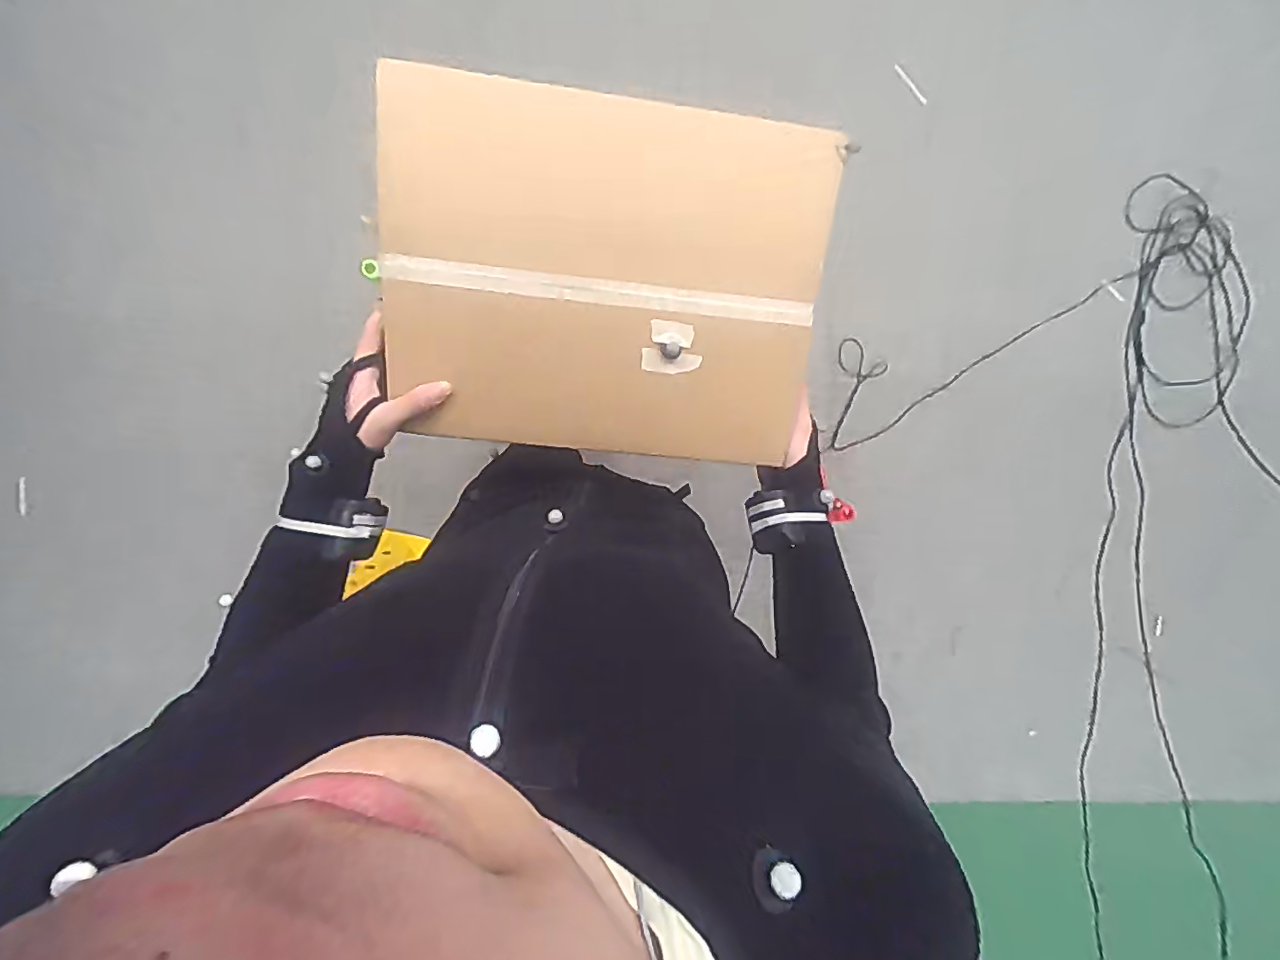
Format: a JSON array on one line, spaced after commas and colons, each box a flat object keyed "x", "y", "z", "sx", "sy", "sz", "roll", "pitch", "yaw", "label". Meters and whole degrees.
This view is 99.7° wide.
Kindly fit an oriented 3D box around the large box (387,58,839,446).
[{"x": -0.043, "y": -0.239, "z": 0.655, "sx": 0.408, "sy": 0.320, "sz": 0.320, "roll": 5, "pitch": 109, "yaw": -7, "label": "large box"}]

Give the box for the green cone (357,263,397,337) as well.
[{"x": -0.614, "y": -0.478, "z": 1.357, "sx": 0.200, "sy": 0.368, "sz": 0.202, "roll": 9, "pitch": 95, "yaw": -5, "label": "green cone"}]
